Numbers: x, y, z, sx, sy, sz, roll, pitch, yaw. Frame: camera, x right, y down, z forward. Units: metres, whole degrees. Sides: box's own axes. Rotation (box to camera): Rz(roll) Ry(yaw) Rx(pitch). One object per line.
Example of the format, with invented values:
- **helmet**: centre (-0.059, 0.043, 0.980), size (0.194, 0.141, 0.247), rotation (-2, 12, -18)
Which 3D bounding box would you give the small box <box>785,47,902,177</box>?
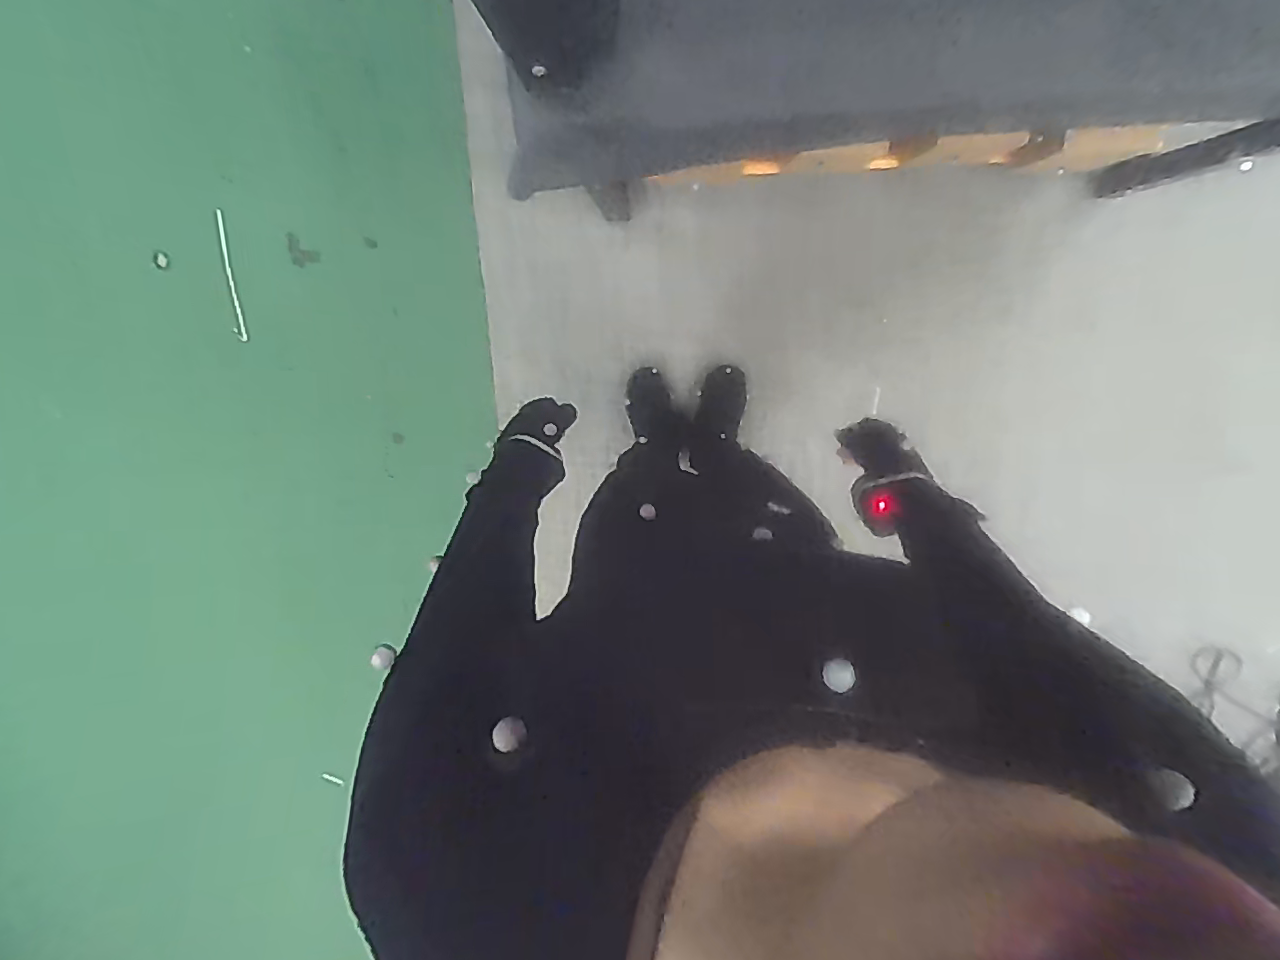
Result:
- **small box**: centre (0.383, -0.702, 1.052), size (0.168, 0.176, 0.179), rotation (0, 107, 3)
